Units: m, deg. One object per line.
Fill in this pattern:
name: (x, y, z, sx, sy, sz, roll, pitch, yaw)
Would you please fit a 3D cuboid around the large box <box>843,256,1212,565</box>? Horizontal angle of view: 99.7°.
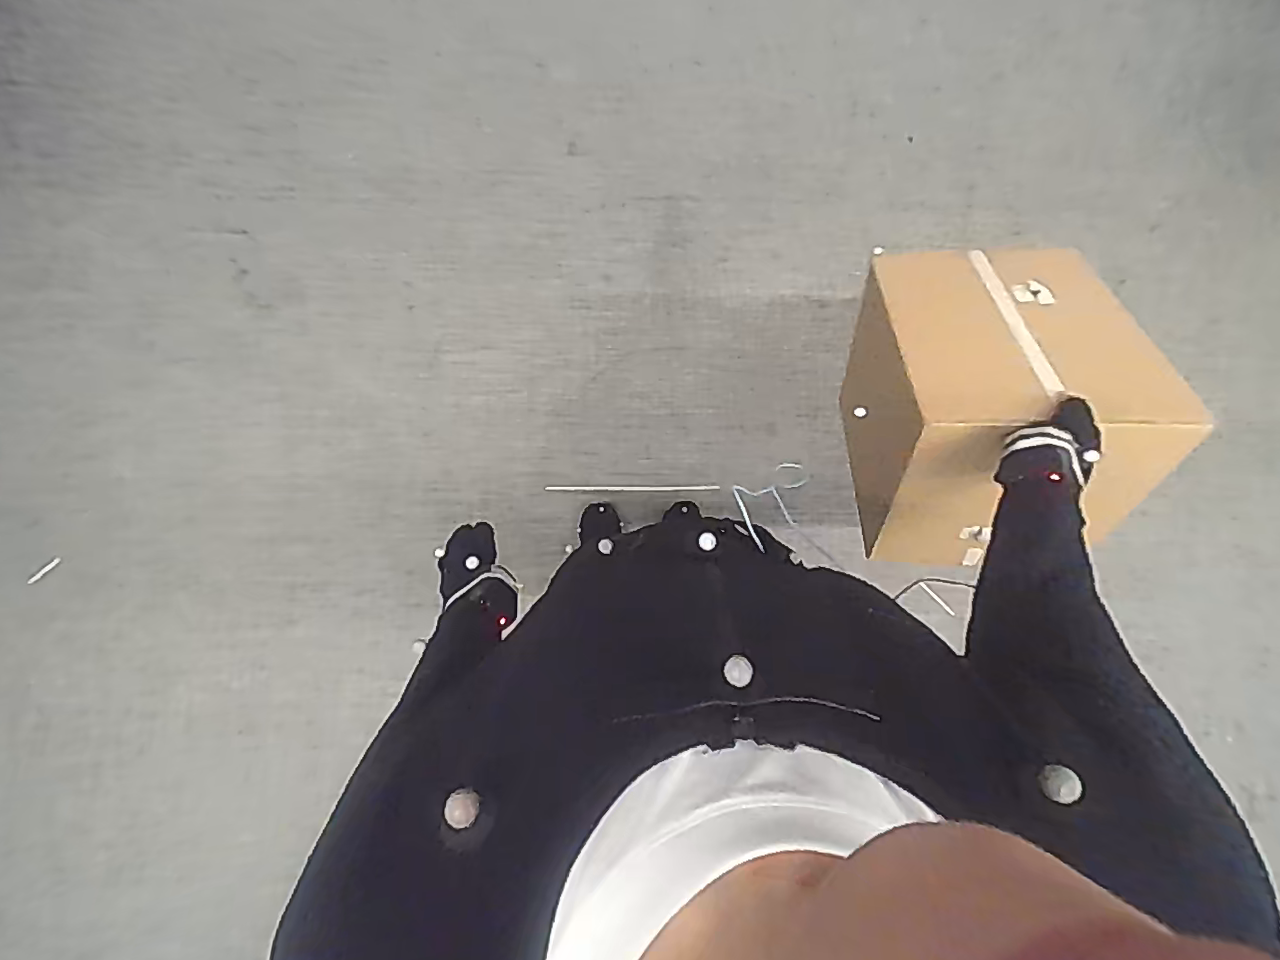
large box: (0.536, -0.113, 0.870, 0.320, 0.320, 0.408, 3, 49, 8)
